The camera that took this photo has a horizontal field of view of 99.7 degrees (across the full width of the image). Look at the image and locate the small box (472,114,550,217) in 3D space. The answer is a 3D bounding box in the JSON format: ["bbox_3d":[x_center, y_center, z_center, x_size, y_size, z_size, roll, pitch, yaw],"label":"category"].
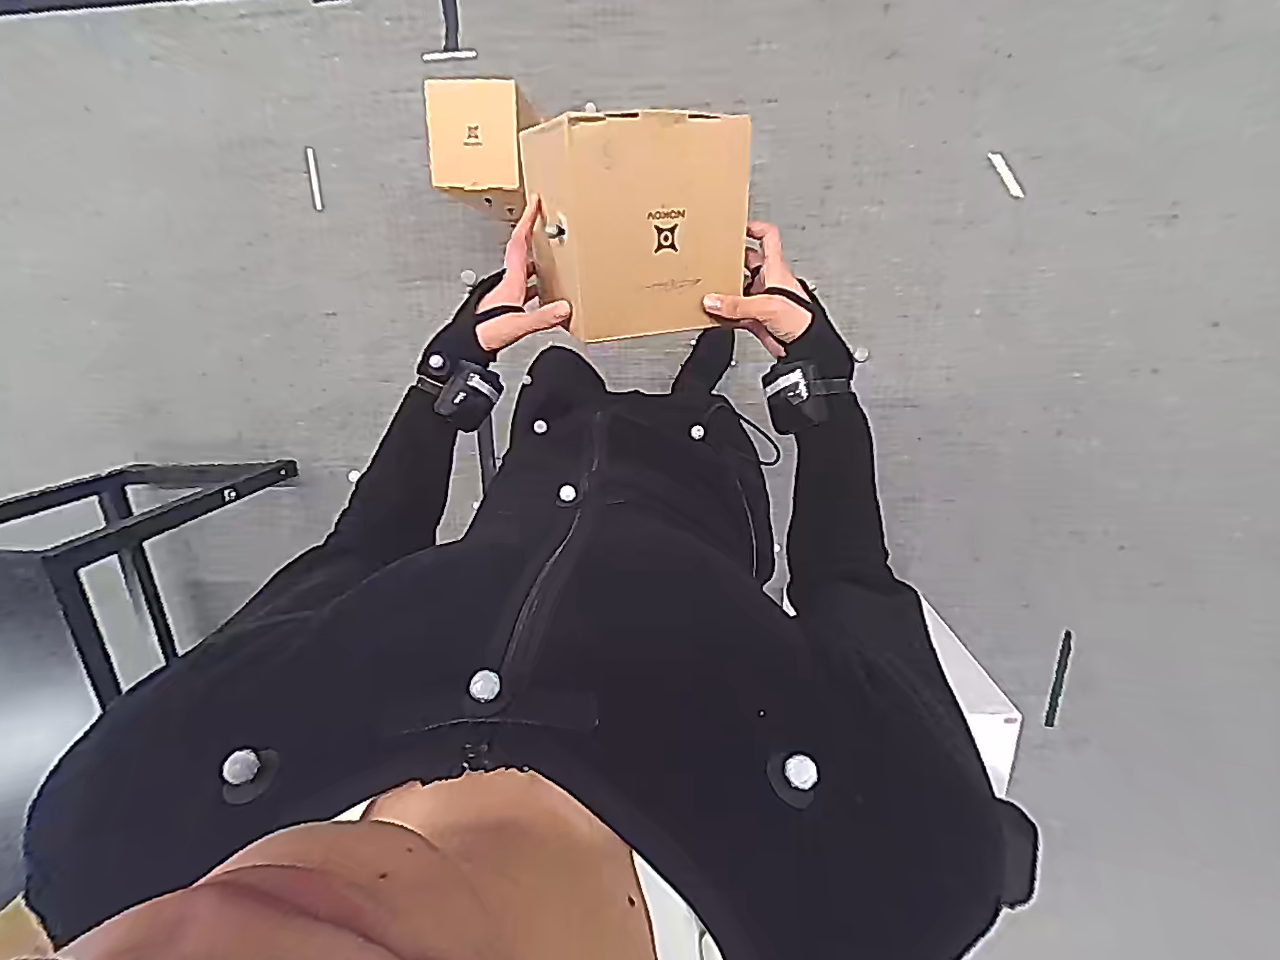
[{"bbox_3d":[-0.267,-0.688,1.199,0.179,0.176,0.168,0,107,3],"label":"small box"}]

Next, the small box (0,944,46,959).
[{"bbox_3d":[-1.344,1.071,1.081,0.179,0.176,0.168,-1,108,5],"label":"small box"}]

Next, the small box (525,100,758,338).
[{"bbox_3d":[-0.007,-0.250,0.525,0.168,0.176,0.179,-13,121,-20],"label":"small box"}]

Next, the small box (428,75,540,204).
[{"bbox_3d":[-0.289,-0.647,1.044,0.168,0.176,0.179,2,108,3],"label":"small box"}]

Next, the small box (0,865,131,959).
[{"bbox_3d":[-1.328,1.022,1.238,0.179,0.176,0.168,-1,107,5],"label":"small box"}]
